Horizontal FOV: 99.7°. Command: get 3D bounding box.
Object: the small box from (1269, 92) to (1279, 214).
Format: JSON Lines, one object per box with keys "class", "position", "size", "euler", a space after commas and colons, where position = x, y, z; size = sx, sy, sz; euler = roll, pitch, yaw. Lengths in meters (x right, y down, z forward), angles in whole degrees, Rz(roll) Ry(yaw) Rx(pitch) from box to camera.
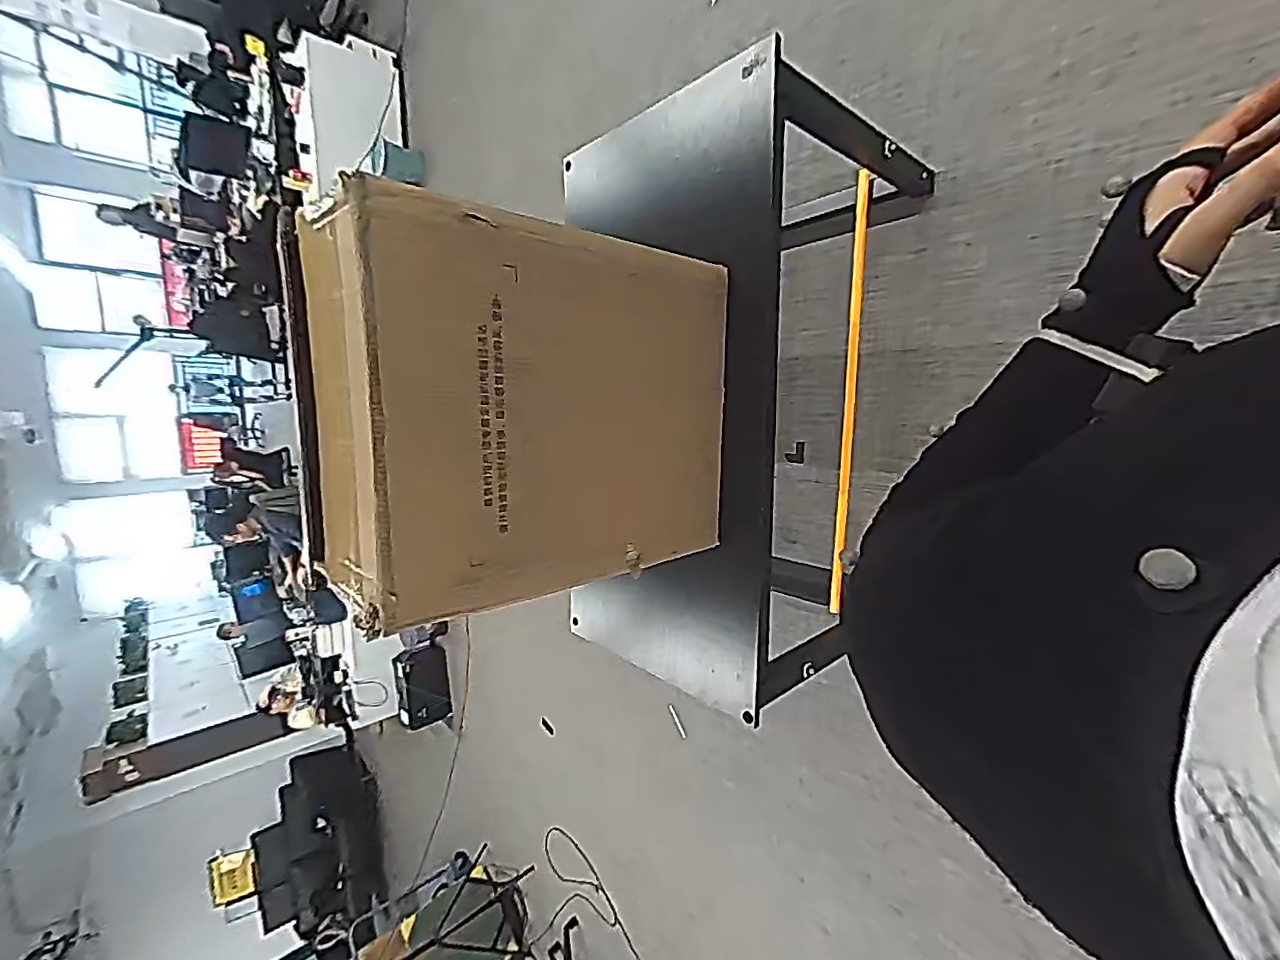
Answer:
{"class": "small box", "position": [0.481, -0.257, 0.296], "size": [0.168, 0.176, 0.179], "euler": [6, 105, 46]}
